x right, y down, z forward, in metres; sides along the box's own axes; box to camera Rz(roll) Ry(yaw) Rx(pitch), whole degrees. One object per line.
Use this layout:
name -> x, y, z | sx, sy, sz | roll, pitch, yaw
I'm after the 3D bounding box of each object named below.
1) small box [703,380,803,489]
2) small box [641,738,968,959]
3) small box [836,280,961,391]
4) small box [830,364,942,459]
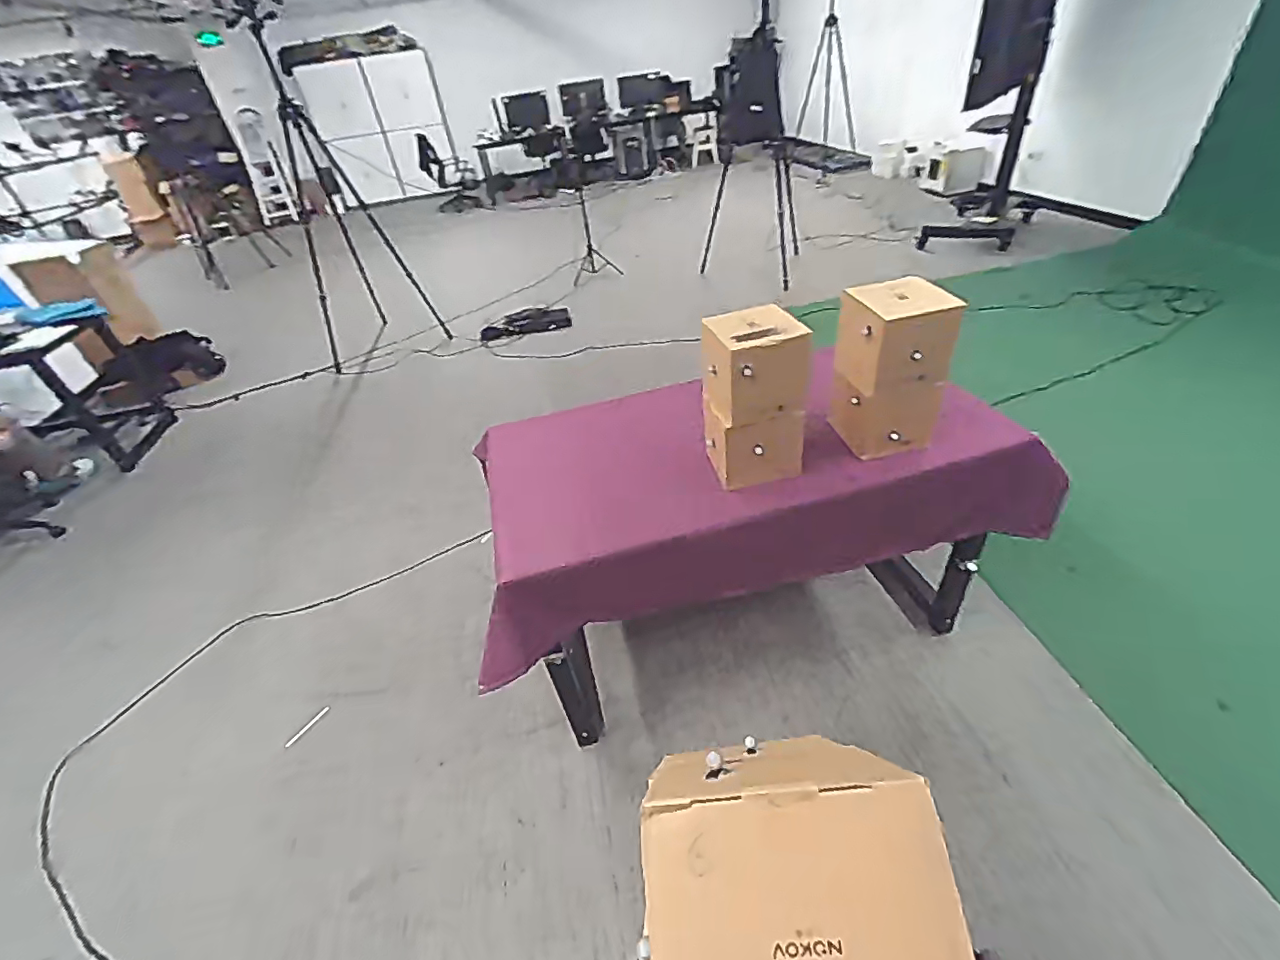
small box -> 0.251, -0.099, 1.213 | 0.179, 0.176, 0.168 | -12, 38, -3
small box -> 0.096, 0.276, 0.361 | 0.168, 0.176, 0.179 | -8, 69, 5
small box -> 0.533, -0.299, 1.142 | 0.168, 0.176, 0.179 | -12, 38, -4
small box -> 0.552, -0.171, 1.244 | 0.168, 0.176, 0.179 | -11, 39, -2
